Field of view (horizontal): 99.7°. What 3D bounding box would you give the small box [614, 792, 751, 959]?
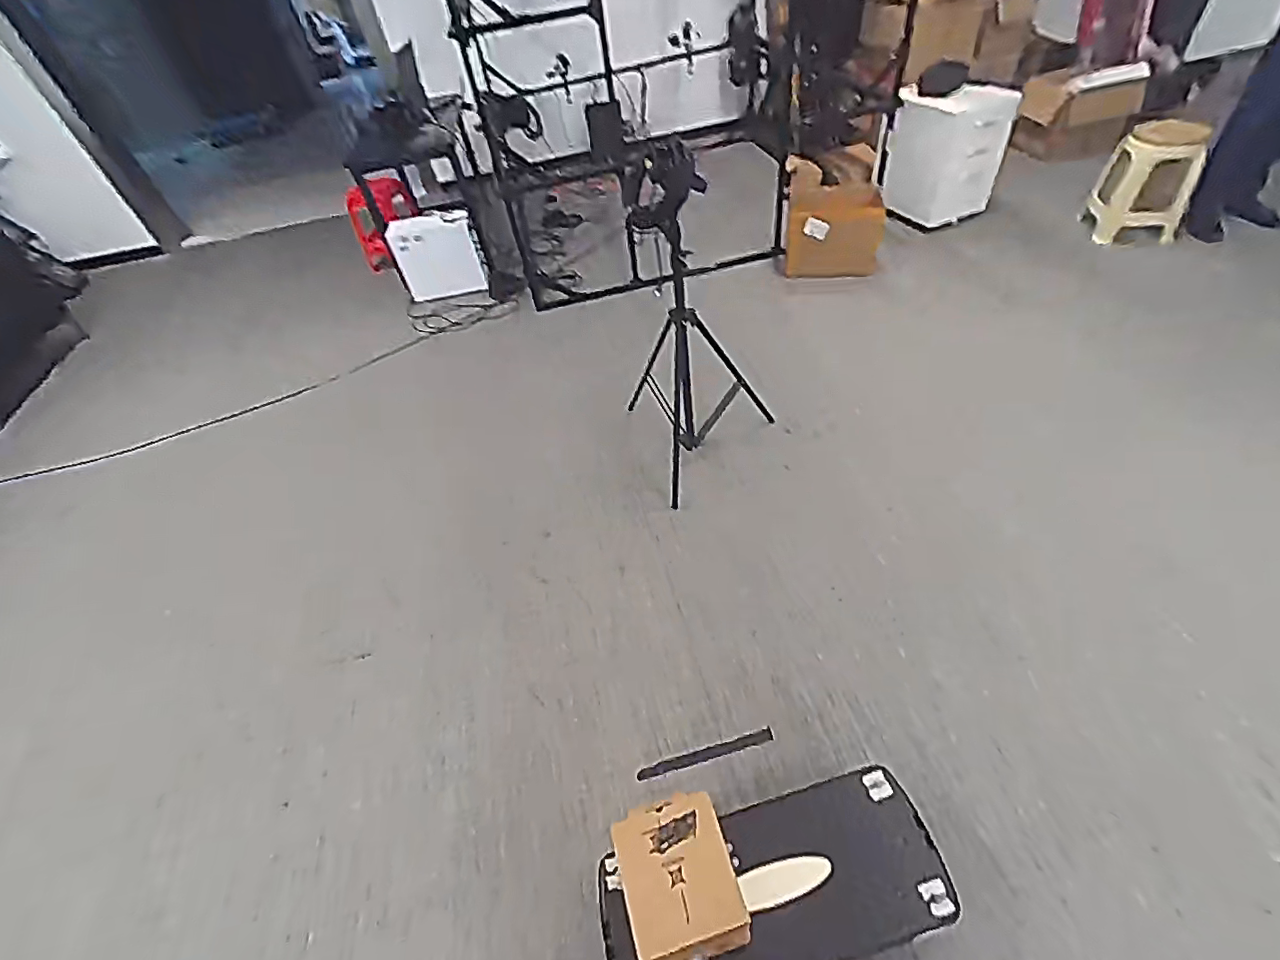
[{"bbox_3d":[0.065,0.635,0.860,0.168,0.176,0.179,-16,47,-6],"label":"small box"}]
